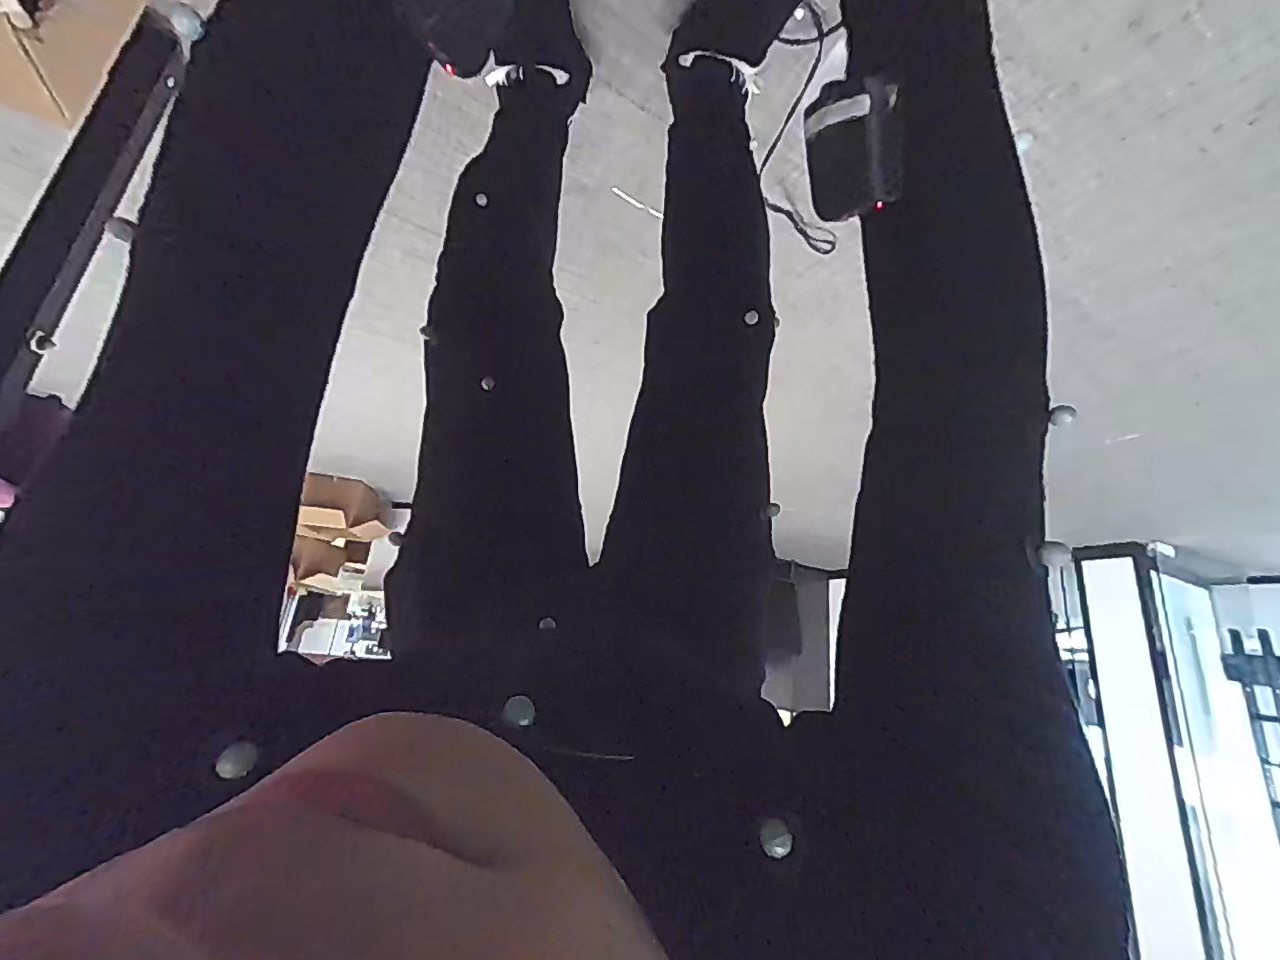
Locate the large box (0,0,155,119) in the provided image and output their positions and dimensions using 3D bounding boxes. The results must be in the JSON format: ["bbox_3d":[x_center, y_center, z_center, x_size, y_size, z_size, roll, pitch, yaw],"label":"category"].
[{"bbox_3d":[-0.745,-0.644,0.475,0.408,0.320,0.320,16,159,-24],"label":"large box"}]
